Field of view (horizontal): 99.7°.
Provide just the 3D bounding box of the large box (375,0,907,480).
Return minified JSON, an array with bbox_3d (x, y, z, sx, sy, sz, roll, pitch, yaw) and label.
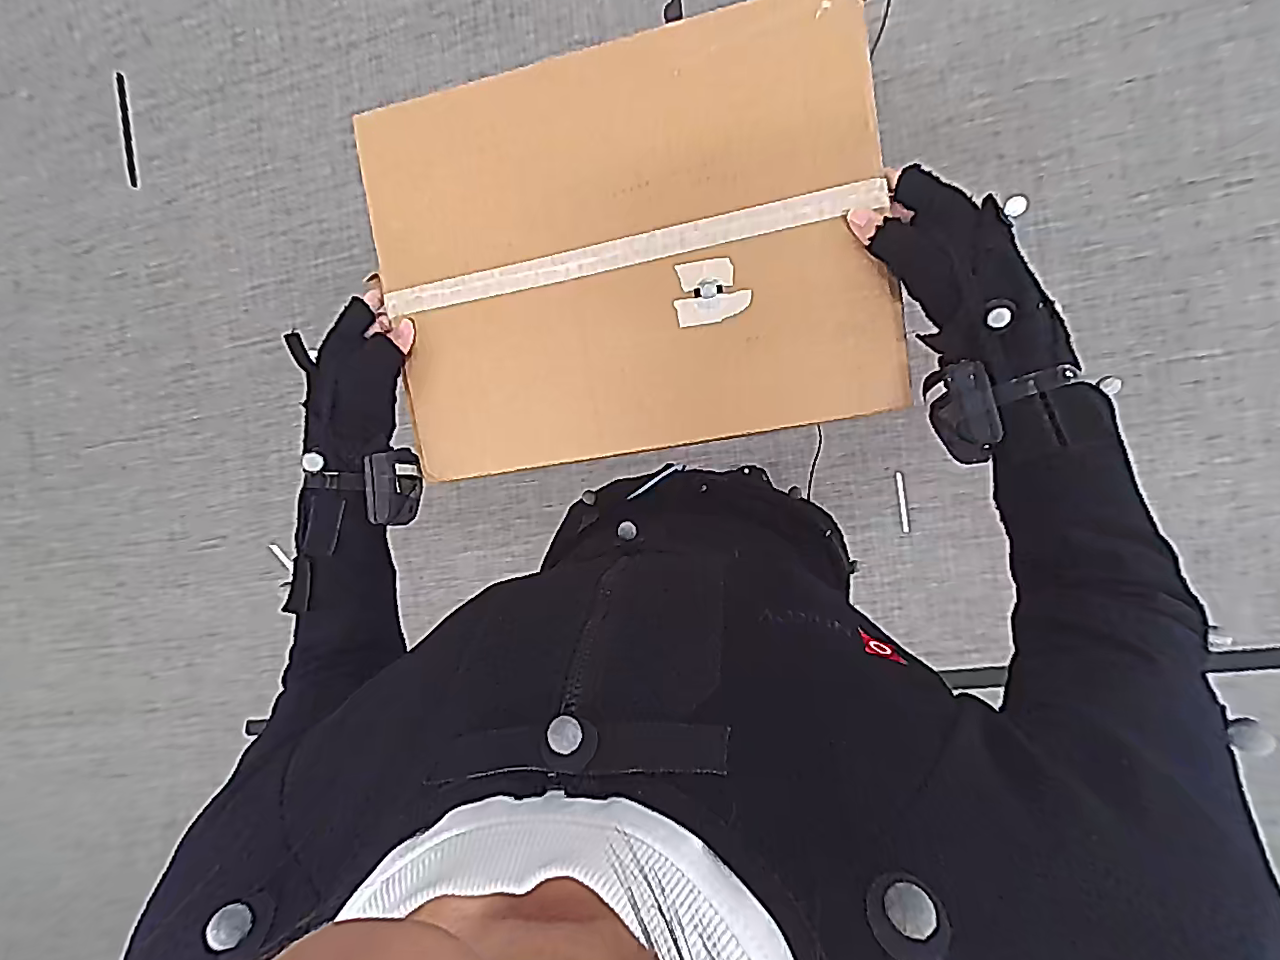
[{"bbox_3d":[0.010,-0.195,0.587,0.408,0.320,0.320,-9,95,9],"label":"large box"}]
